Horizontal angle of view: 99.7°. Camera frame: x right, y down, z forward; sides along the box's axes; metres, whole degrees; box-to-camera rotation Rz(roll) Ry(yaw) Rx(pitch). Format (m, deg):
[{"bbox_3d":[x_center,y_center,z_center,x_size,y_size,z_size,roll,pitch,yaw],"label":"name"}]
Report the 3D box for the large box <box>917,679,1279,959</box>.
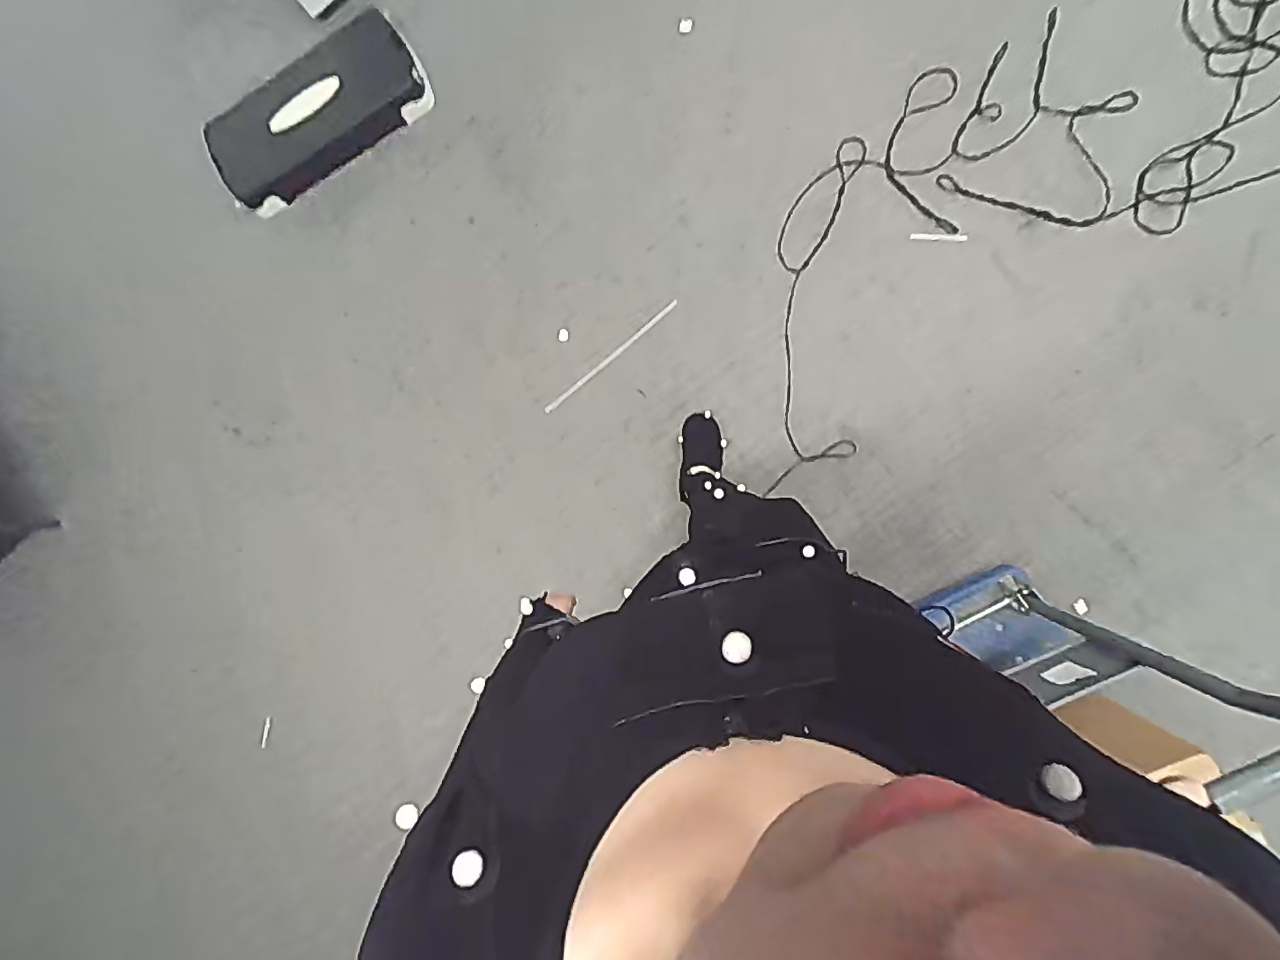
[{"bbox_3d":[0.848,0.657,1.055,0.408,0.320,0.320,-29,84,8],"label":"large box"}]
